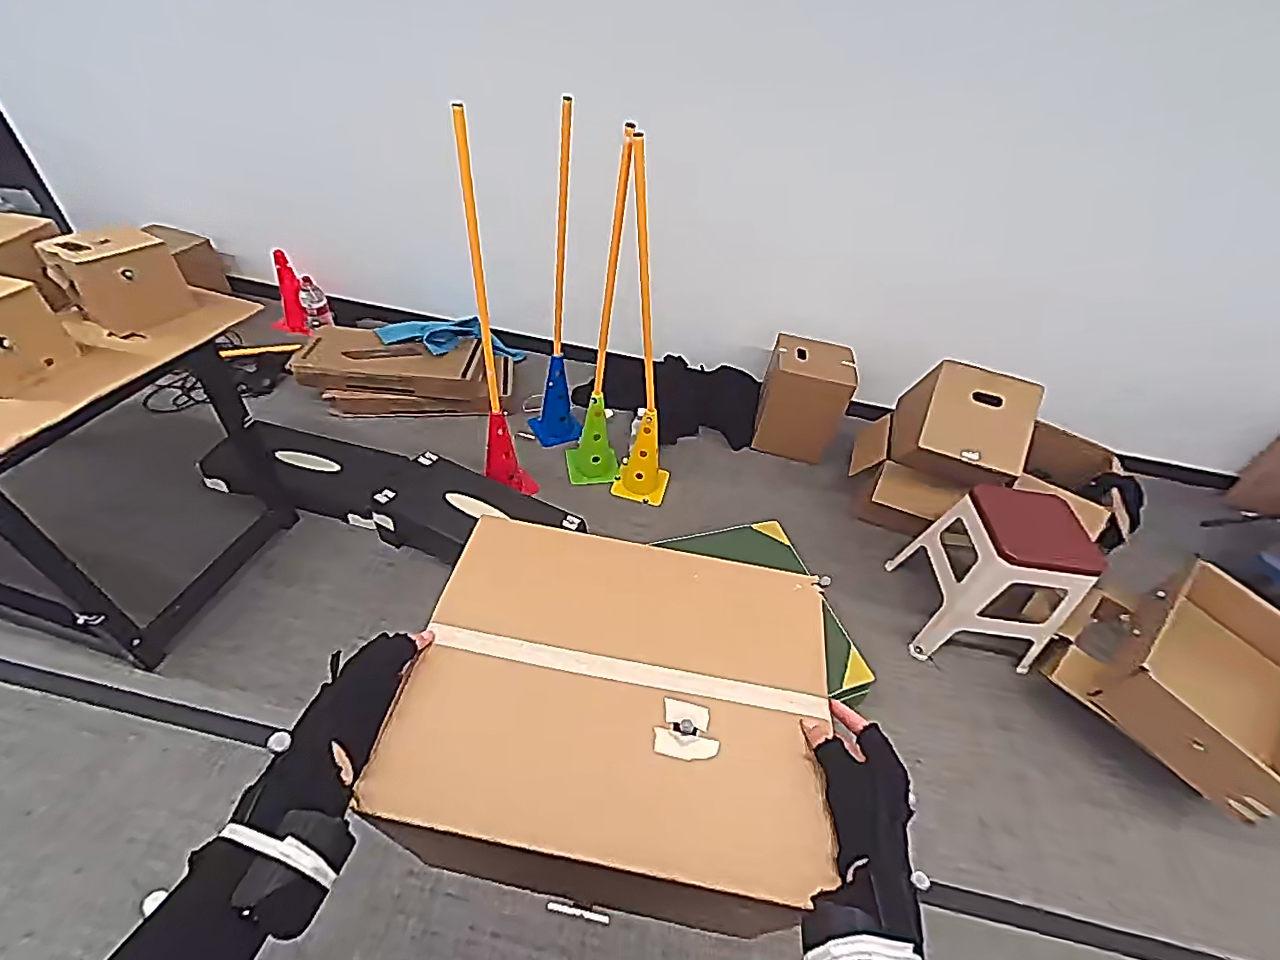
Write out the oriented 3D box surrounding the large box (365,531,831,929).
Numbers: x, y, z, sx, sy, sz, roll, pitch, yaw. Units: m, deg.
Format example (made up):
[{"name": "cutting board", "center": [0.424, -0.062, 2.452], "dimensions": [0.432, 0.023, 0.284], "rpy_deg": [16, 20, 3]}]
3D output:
[{"name": "large box", "center": [-0.032, 0.303, 0.656], "dimensions": [0.408, 0.320, 0.320], "rpy_deg": [11, 48, 2]}]
